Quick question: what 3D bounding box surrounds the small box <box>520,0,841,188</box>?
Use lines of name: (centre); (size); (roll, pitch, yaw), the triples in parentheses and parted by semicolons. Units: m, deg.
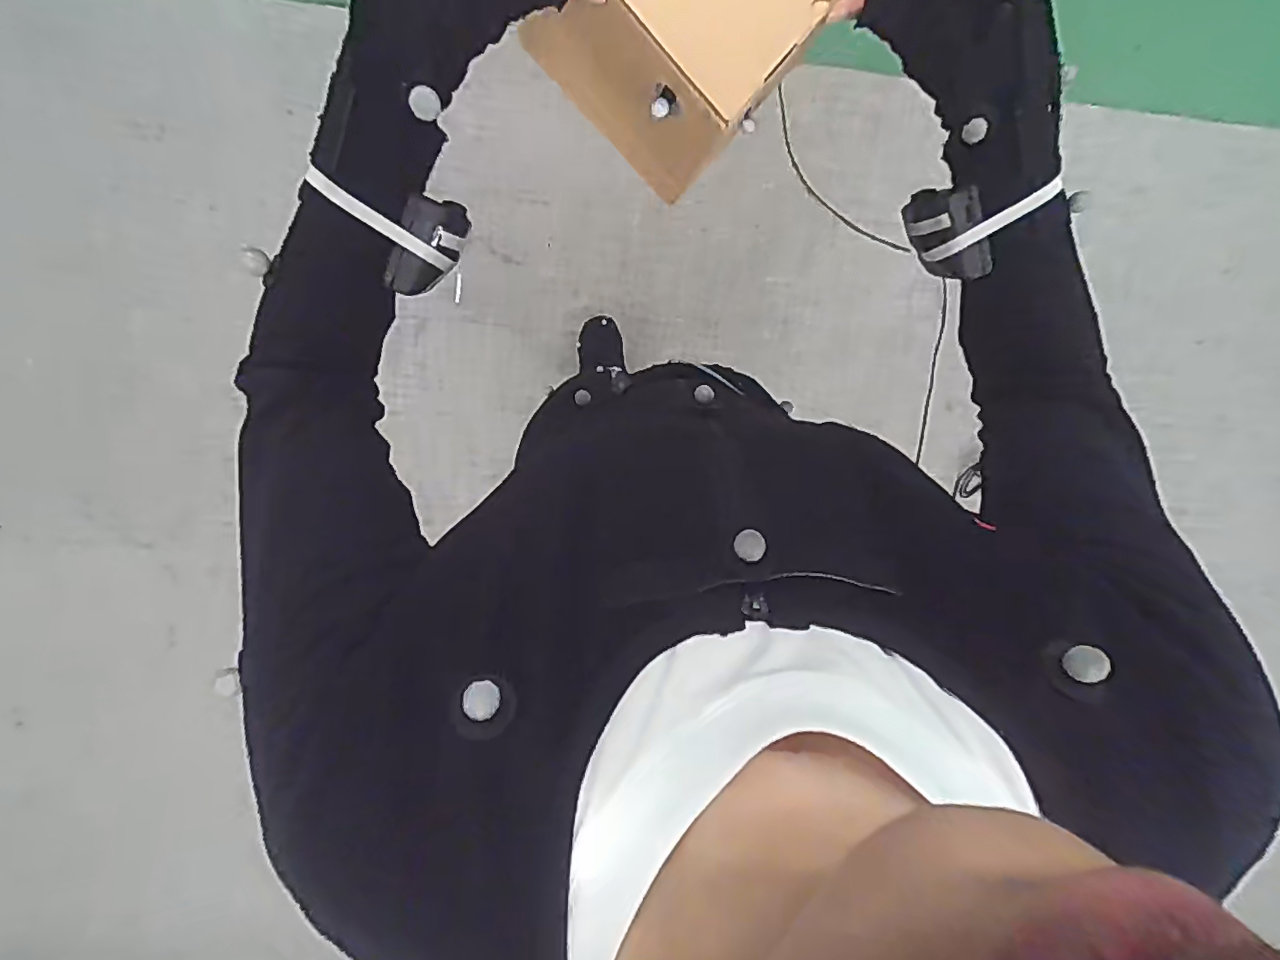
small box: (0.028, -0.346, 0.376); (0.179, 0.176, 0.168); (41, 93, -15)
